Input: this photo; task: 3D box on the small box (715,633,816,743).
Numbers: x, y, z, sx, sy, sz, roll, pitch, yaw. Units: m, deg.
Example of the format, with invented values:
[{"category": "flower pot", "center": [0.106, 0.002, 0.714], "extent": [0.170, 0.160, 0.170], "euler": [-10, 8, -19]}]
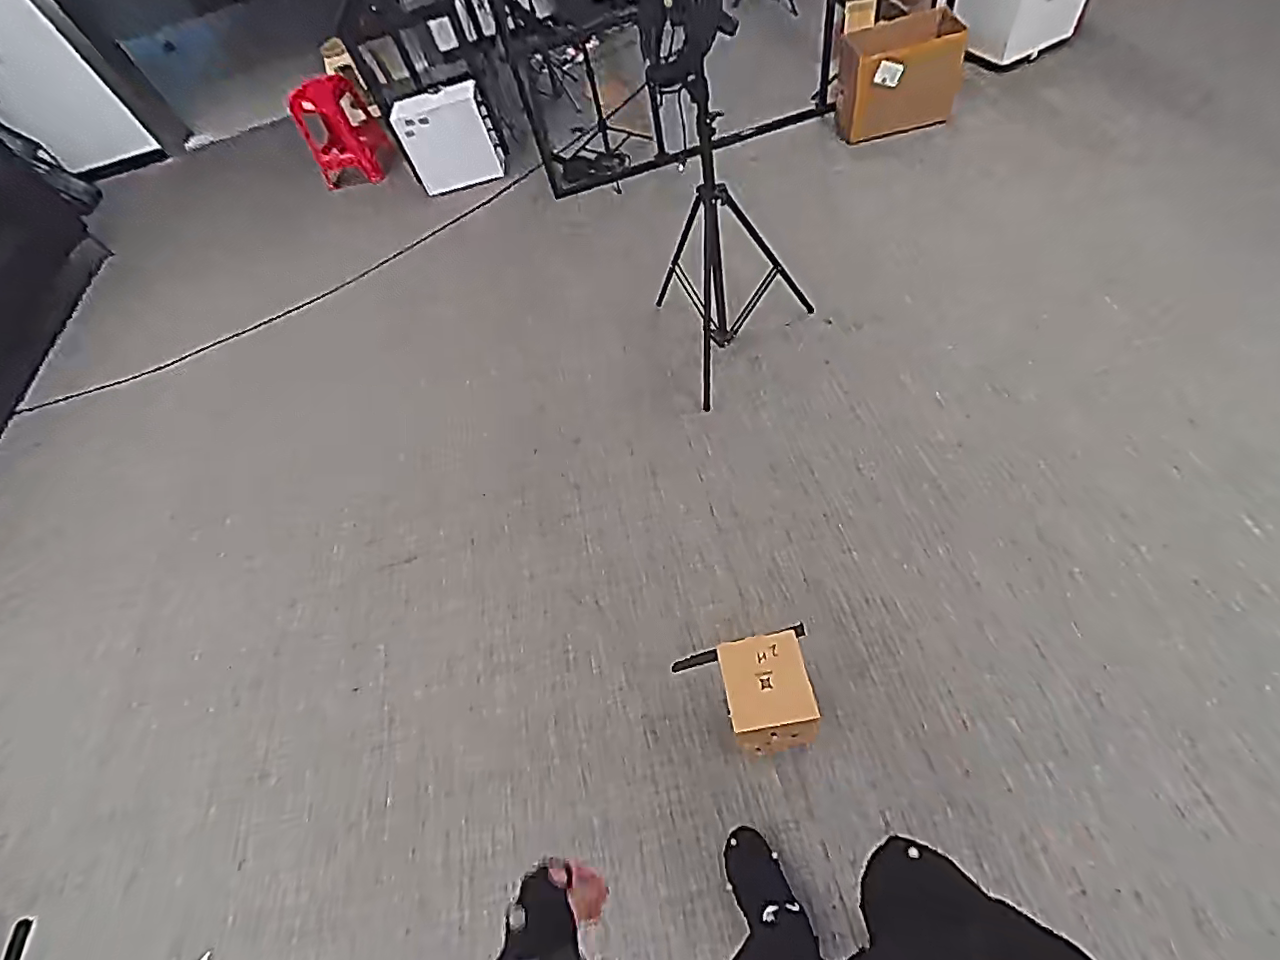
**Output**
[{"category": "small box", "center": [0.261, 0.443, 1.133], "extent": [0.168, 0.176, 0.179], "euler": [-12, 55, 5]}]
